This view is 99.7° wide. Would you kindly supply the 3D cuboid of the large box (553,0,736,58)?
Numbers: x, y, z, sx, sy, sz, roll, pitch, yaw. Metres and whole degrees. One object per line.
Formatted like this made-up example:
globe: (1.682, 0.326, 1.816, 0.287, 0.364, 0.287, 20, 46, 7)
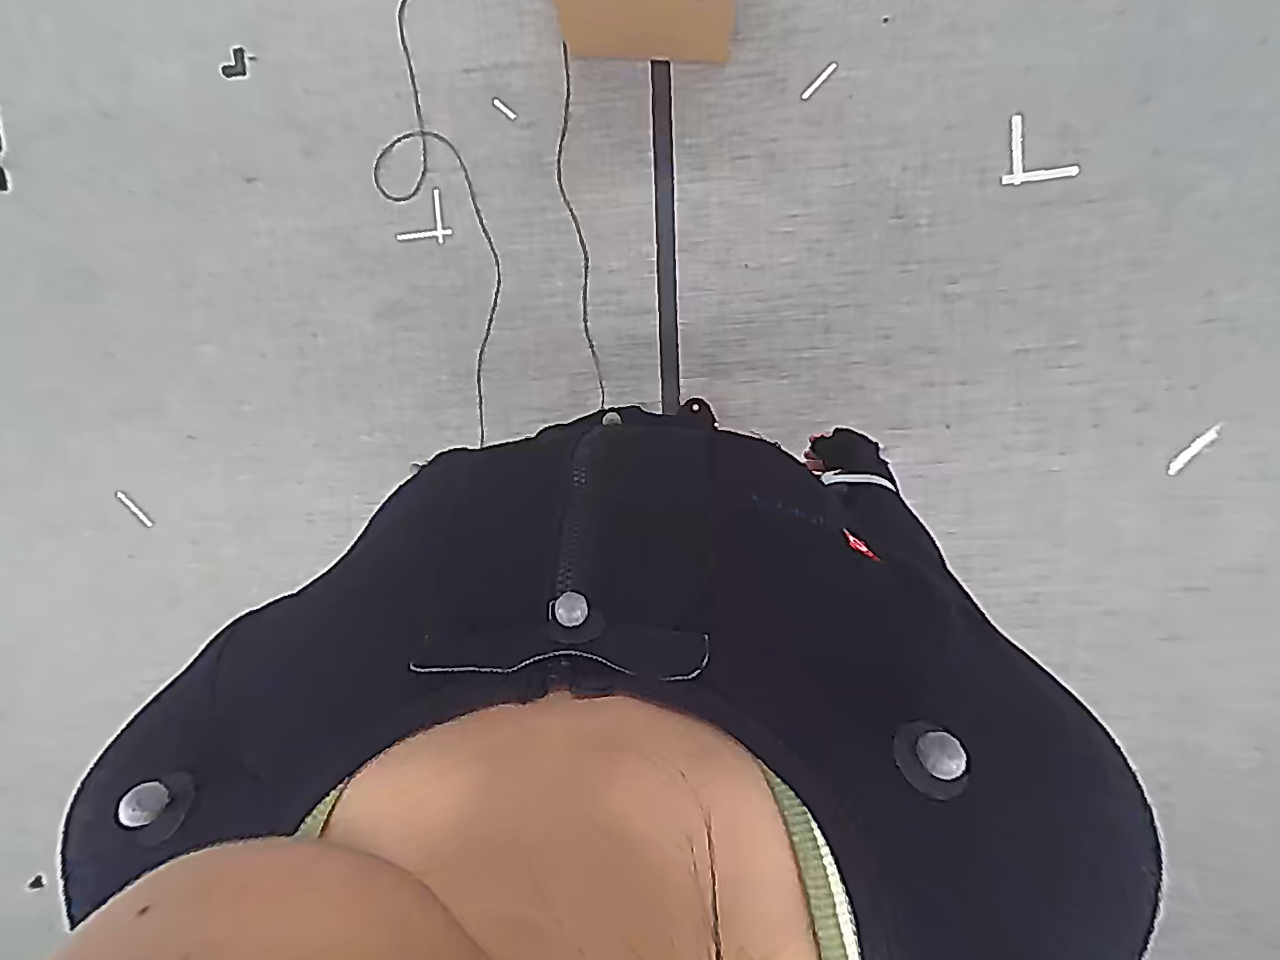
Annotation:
large box: (0.019, -1.192, 1.187, 0.408, 0.320, 0.320, 5, 98, 3)
